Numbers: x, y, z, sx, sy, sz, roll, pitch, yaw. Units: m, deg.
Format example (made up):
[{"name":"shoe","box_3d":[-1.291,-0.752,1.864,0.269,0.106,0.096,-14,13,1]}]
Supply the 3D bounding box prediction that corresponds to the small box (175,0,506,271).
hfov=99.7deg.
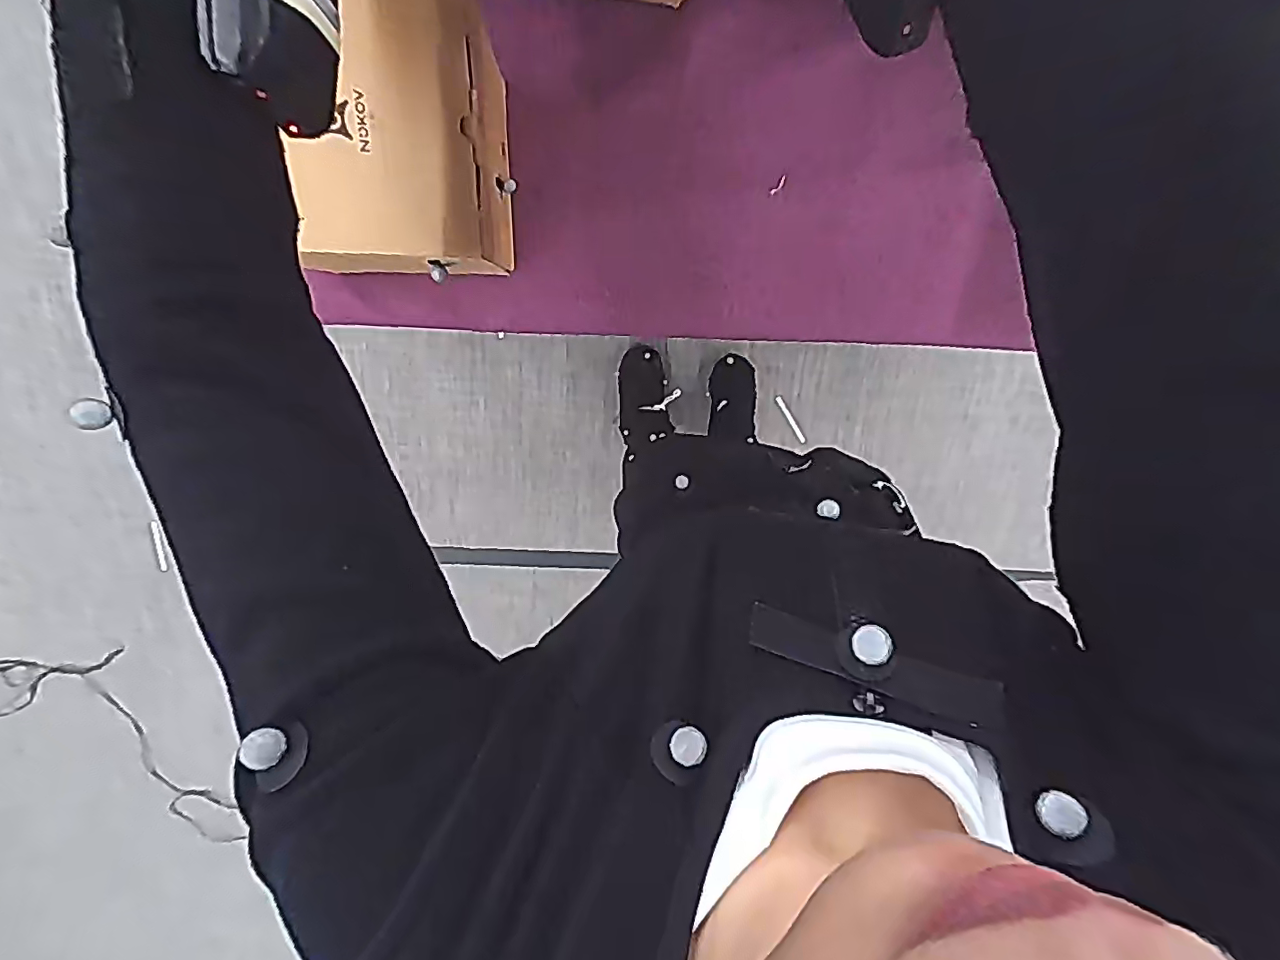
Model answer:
[{"name":"small box","box_3d":[-0.212,-0.263,0.437,0.179,0.176,0.168,-2,107,-7]}]
